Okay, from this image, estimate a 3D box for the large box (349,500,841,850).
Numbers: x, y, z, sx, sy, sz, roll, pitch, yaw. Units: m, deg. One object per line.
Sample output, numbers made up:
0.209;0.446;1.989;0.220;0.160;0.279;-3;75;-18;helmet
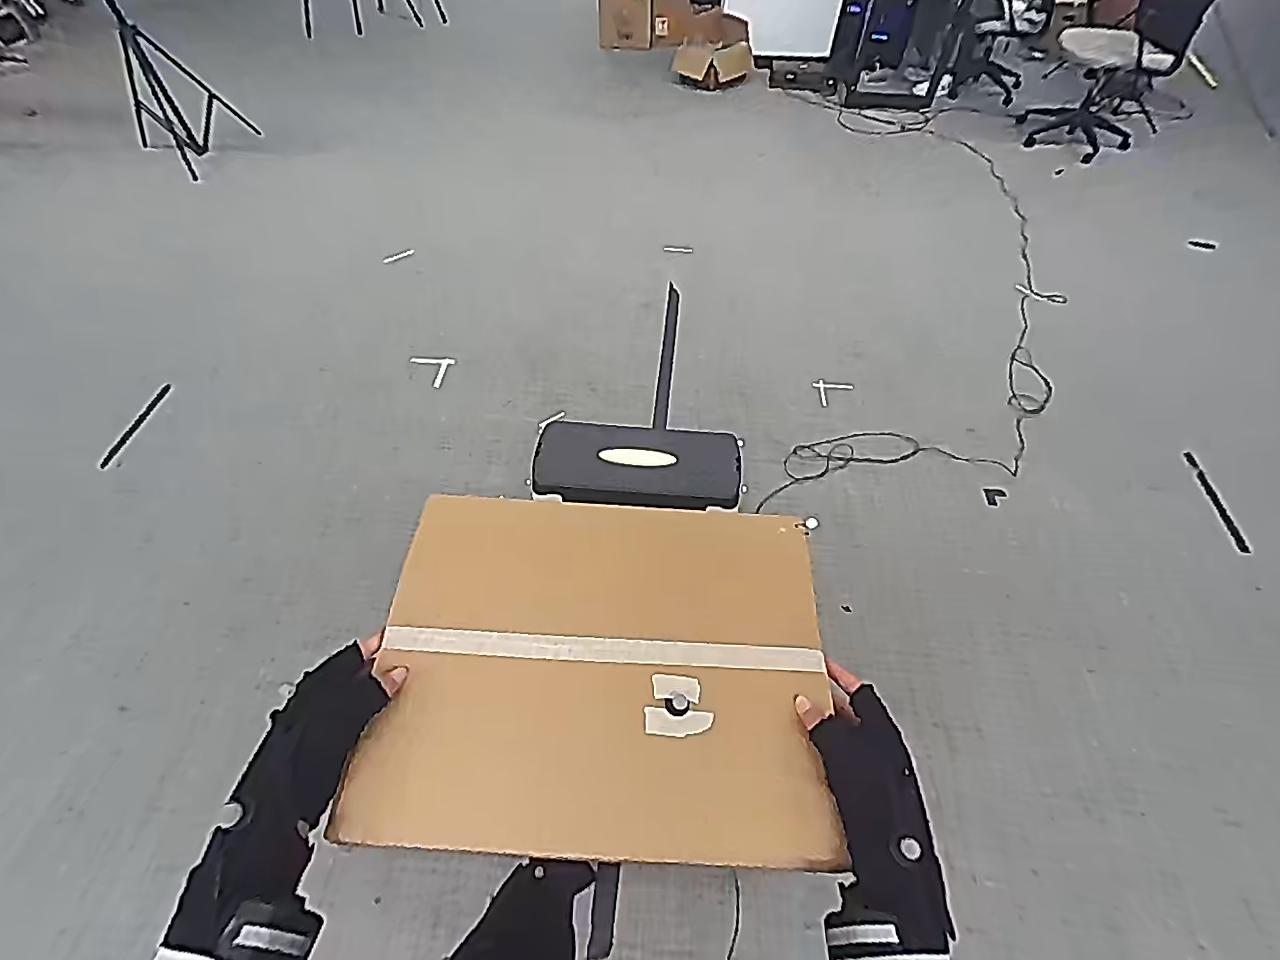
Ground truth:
-0.038;0.241;0.635;0.408;0.320;0.320;4;56;-1;large box
